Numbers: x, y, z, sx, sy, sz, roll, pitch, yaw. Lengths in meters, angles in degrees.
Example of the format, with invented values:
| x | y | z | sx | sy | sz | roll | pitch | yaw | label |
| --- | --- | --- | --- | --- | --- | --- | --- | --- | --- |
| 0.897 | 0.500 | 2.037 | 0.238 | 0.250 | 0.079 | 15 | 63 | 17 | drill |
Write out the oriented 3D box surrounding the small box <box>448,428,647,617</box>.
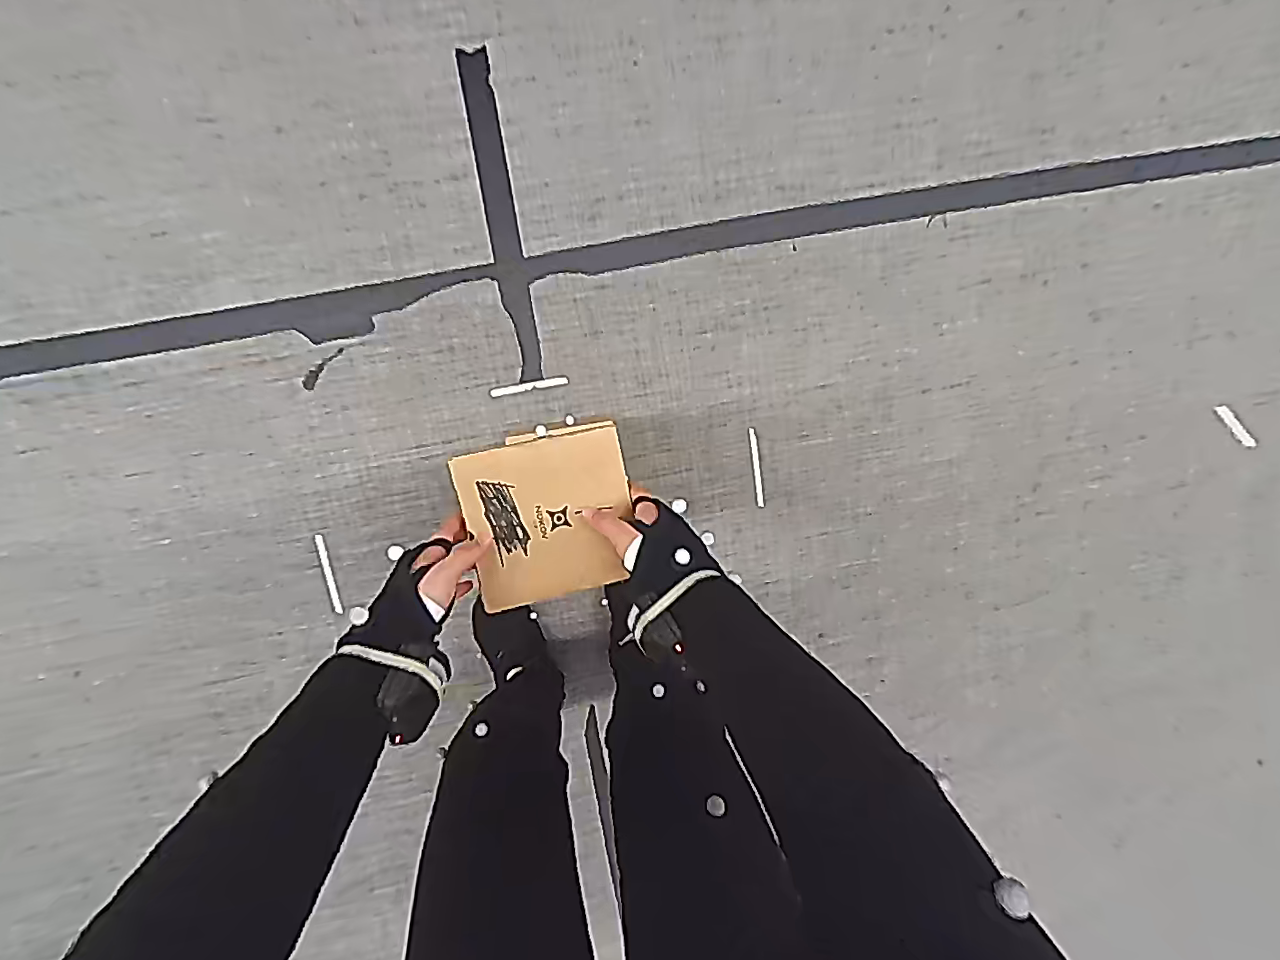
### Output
| x | y | z | sx | sy | sz | roll | pitch | yaw | label |
| --- | --- | --- | --- | --- | --- | --- | --- | --- | --- |
| -0.102 | 0.037 | 0.628 | 0.179 | 0.176 | 0.168 | -13 | 98 | -8 | small box |

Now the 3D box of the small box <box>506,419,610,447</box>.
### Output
| x | y | z | sx | sy | sz | roll | pitch | yaw | label |
| --- | --- | --- | --- | --- | --- | --- | --- | --- | --- |
| -0.116 | 0.000 | 0.905 | 0.168 | 0.176 | 0.179 | -9 | 101 | -5 | small box |
